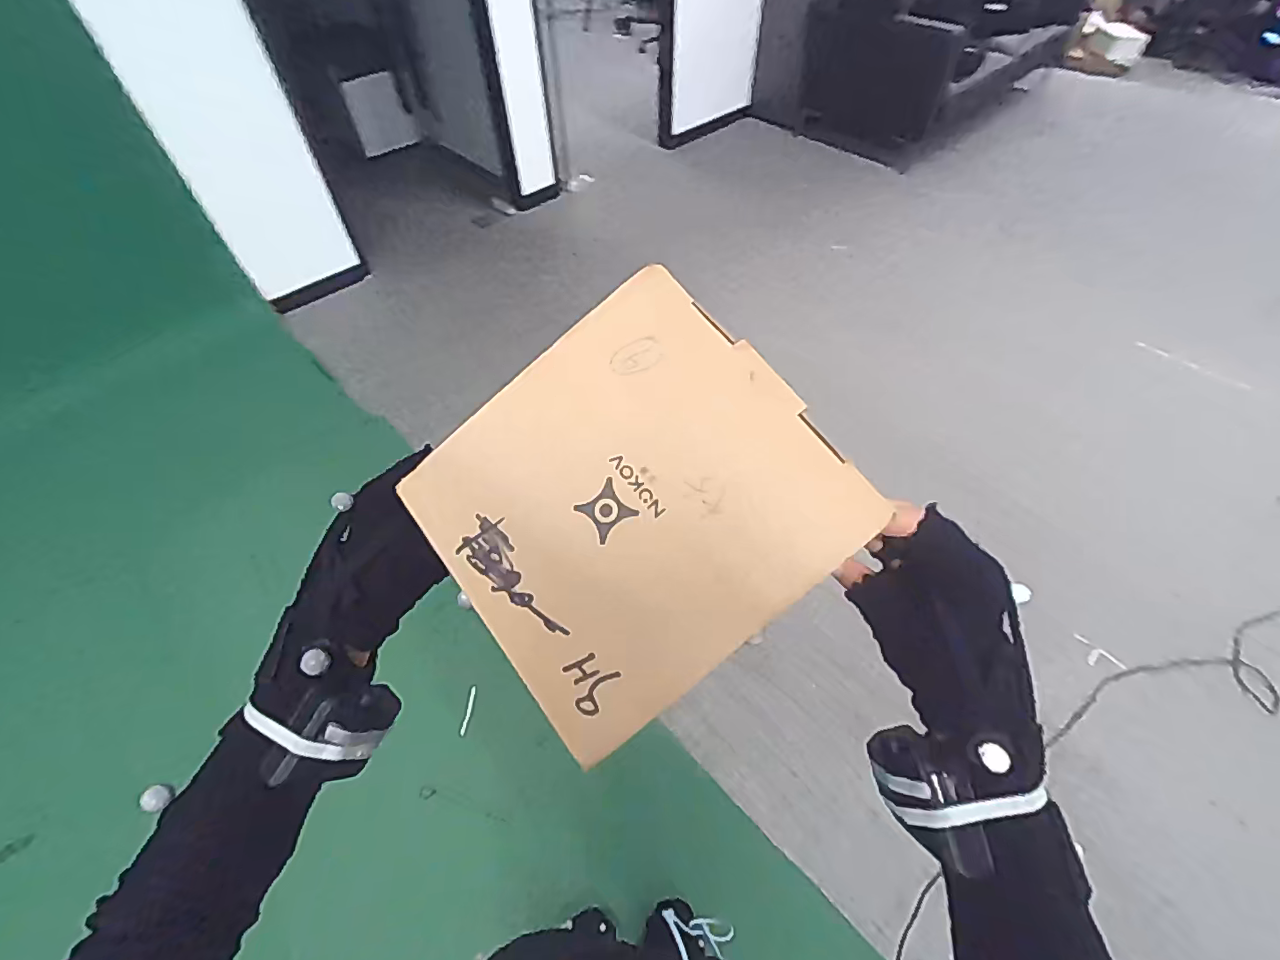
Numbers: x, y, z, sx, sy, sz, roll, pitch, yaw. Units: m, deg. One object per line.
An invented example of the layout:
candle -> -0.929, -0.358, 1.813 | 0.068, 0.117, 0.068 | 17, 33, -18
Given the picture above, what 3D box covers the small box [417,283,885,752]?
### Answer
small box -> 0.010, 0.024, 0.339 | 0.179, 0.176, 0.168 | -39, 74, 2
